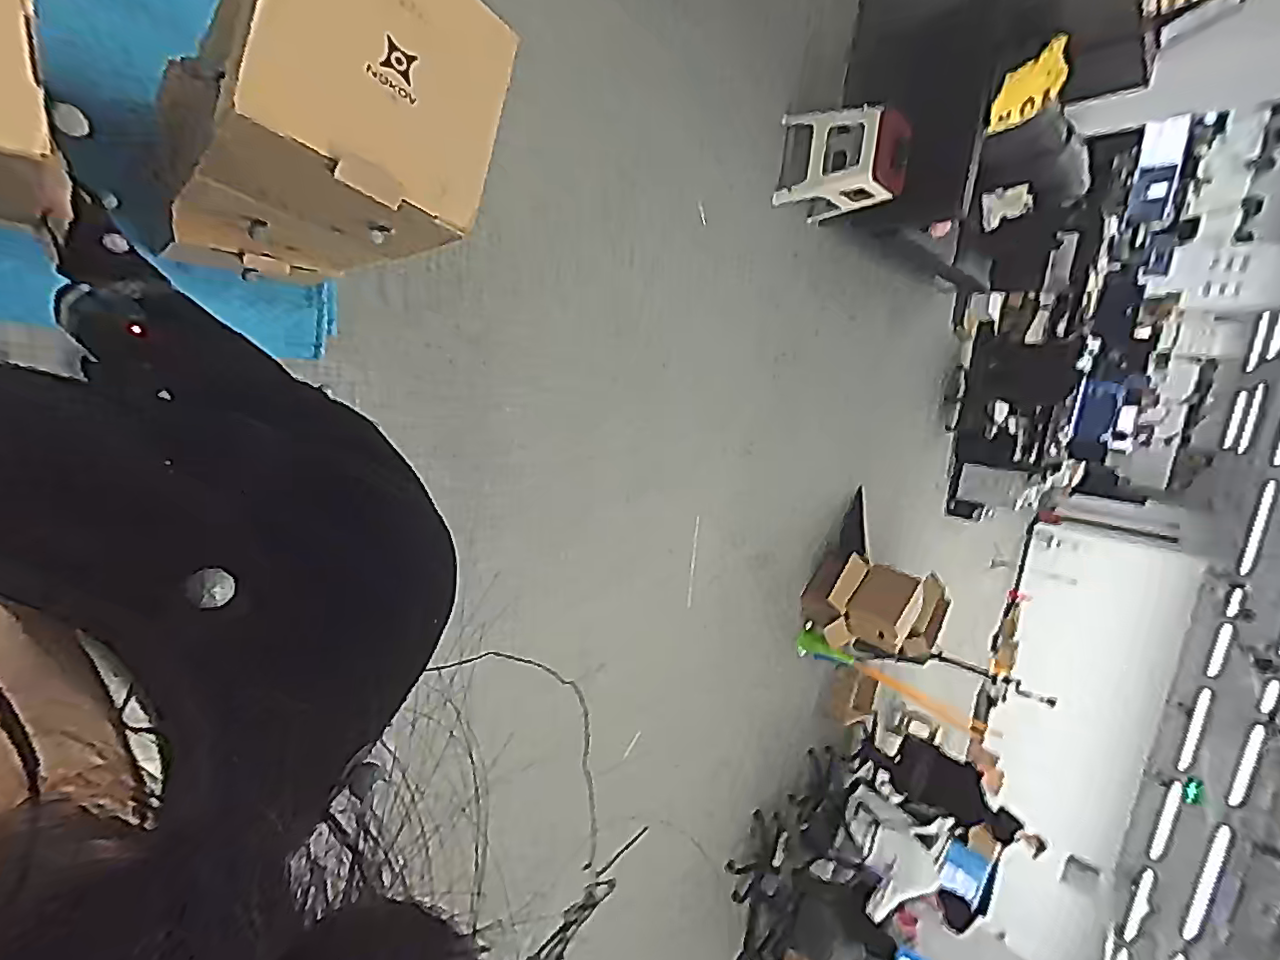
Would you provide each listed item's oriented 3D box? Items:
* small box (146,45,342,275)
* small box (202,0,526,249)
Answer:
[{"bbox_3d":[-0.470,-0.355,0.646,0.168,0.176,0.179,-1,103,-47],"label":"small box"},{"bbox_3d":[-0.224,-0.309,0.436,0.168,0.176,0.179,15,88,-48],"label":"small box"}]
